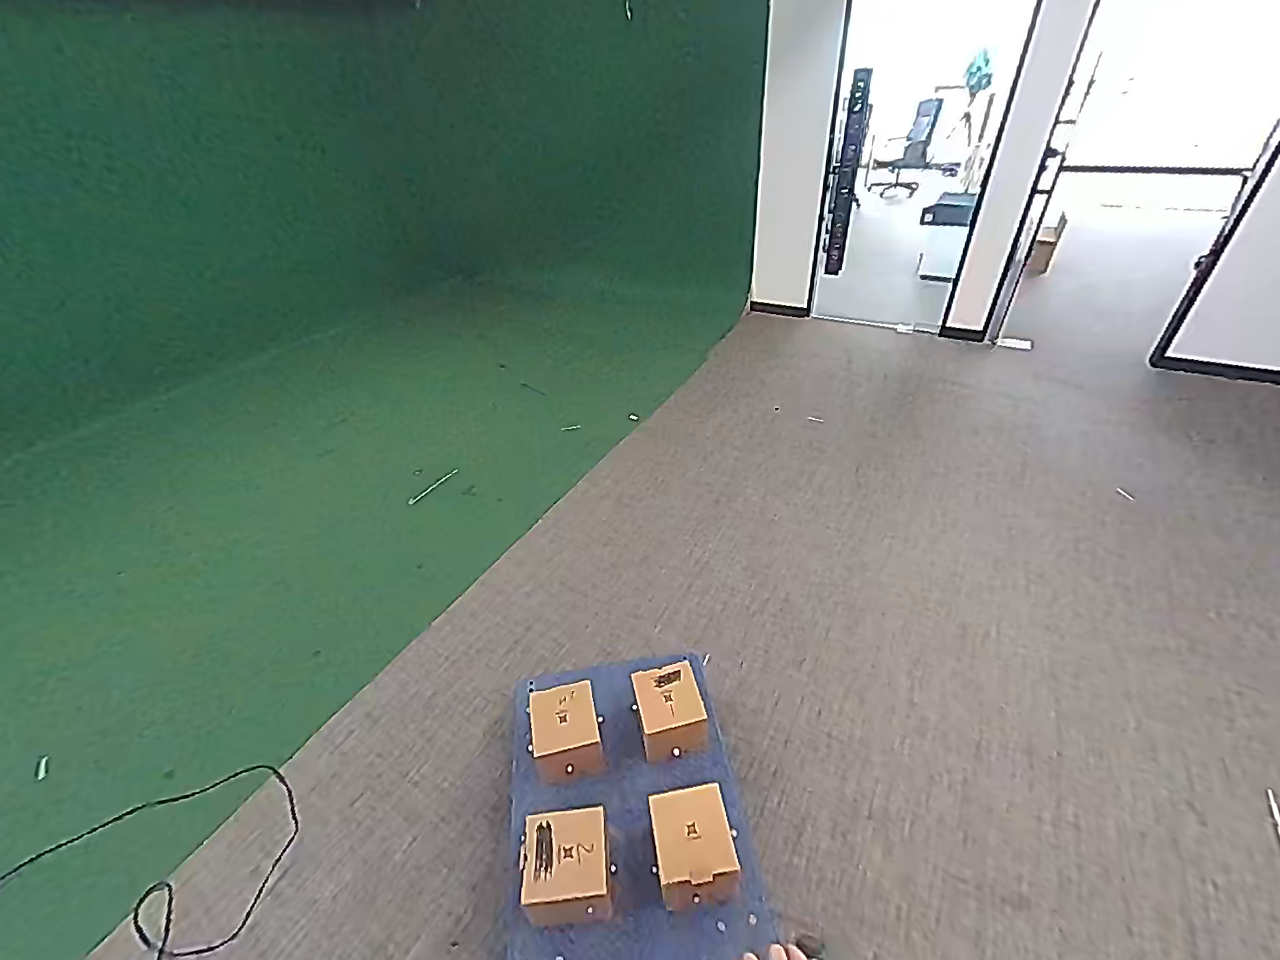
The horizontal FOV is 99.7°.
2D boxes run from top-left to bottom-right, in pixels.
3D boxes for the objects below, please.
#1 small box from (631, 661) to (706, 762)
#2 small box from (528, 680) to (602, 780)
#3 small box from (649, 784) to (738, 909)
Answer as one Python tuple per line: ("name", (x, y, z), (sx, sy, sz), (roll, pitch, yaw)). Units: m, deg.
("small box", (0.074, 0.626, 1.463), (0.168, 0.176, 0.179), (-10, 40, -8))
("small box", (-0.198, 0.667, 1.432), (0.168, 0.176, 0.179), (-9, 39, -9))
("small box", (0.113, 0.822, 1.215), (0.168, 0.176, 0.179), (-8, 39, -5))
